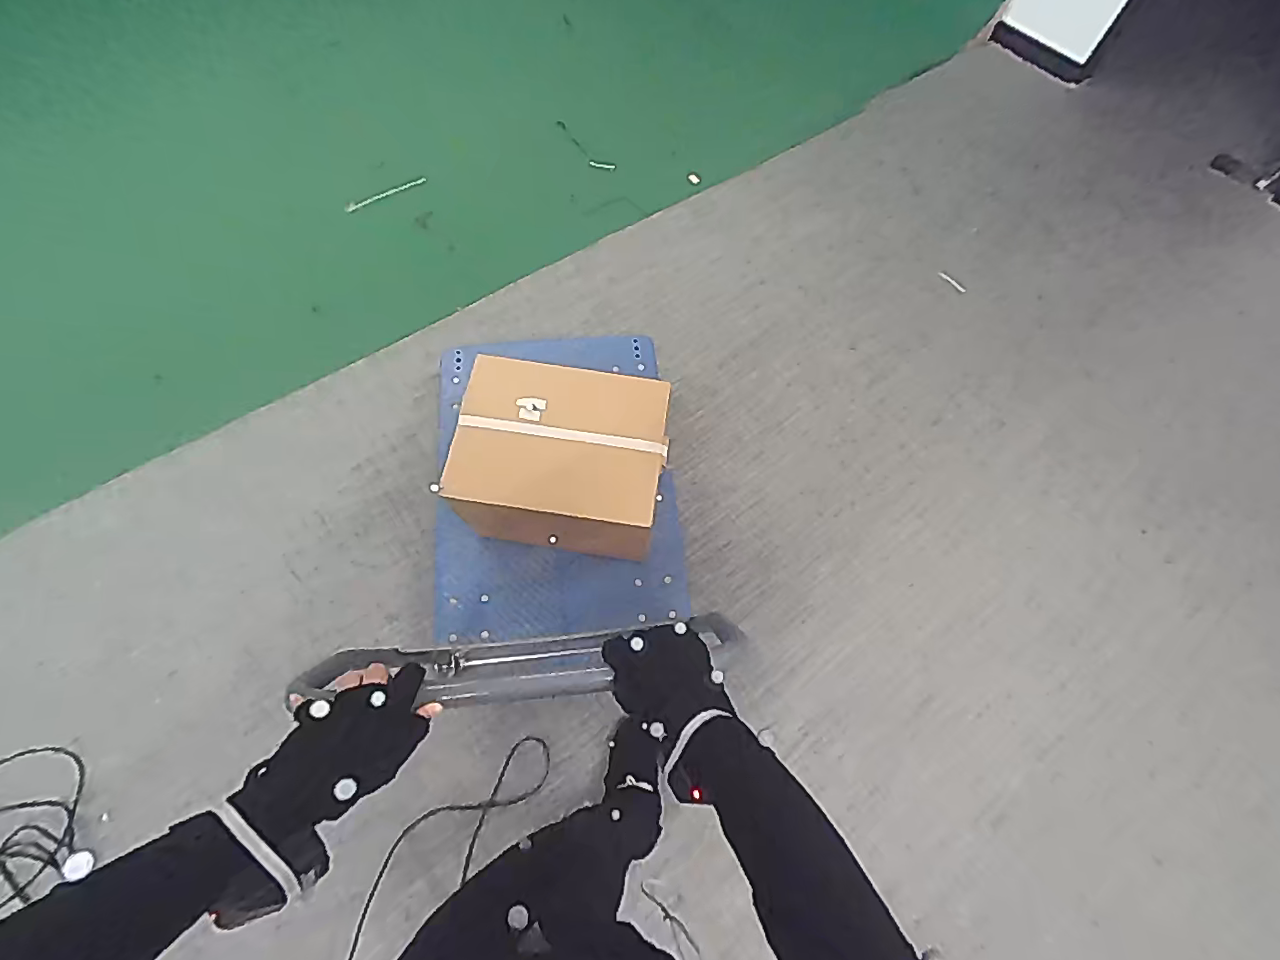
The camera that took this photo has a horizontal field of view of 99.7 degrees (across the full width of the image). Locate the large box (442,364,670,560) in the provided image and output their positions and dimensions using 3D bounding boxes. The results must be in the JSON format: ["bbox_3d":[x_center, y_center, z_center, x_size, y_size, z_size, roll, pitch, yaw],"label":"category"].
[{"bbox_3d":[-0.155,-0.023,1.191,0.408,0.320,0.320,8,69,2],"label":"large box"}]
